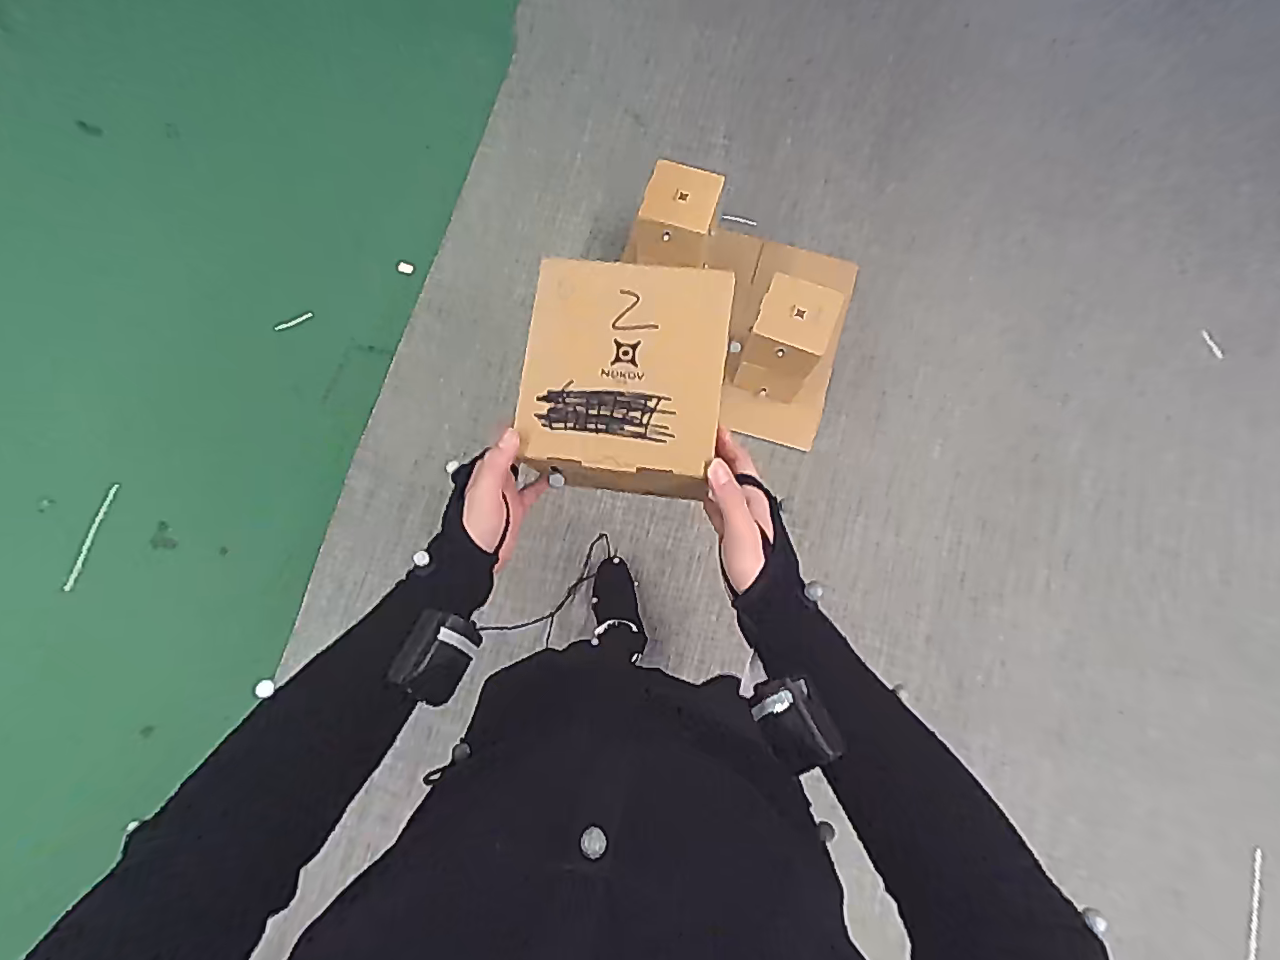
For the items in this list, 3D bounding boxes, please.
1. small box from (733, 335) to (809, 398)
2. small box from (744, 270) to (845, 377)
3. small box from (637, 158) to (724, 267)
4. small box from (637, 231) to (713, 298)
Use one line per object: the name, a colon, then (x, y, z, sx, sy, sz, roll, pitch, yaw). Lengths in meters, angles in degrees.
small box: (0.371, -0.339, 1.480, 0.179, 0.176, 0.168, 19, 80, 5)
small box: (0.367, -0.372, 1.320, 0.179, 0.176, 0.168, 21, 82, 6)
small box: (0.101, -0.673, 1.380, 0.179, 0.176, 0.168, 17, 81, 5)
small box: (0.100, -0.645, 1.540, 0.179, 0.176, 0.168, 18, 80, 5)
